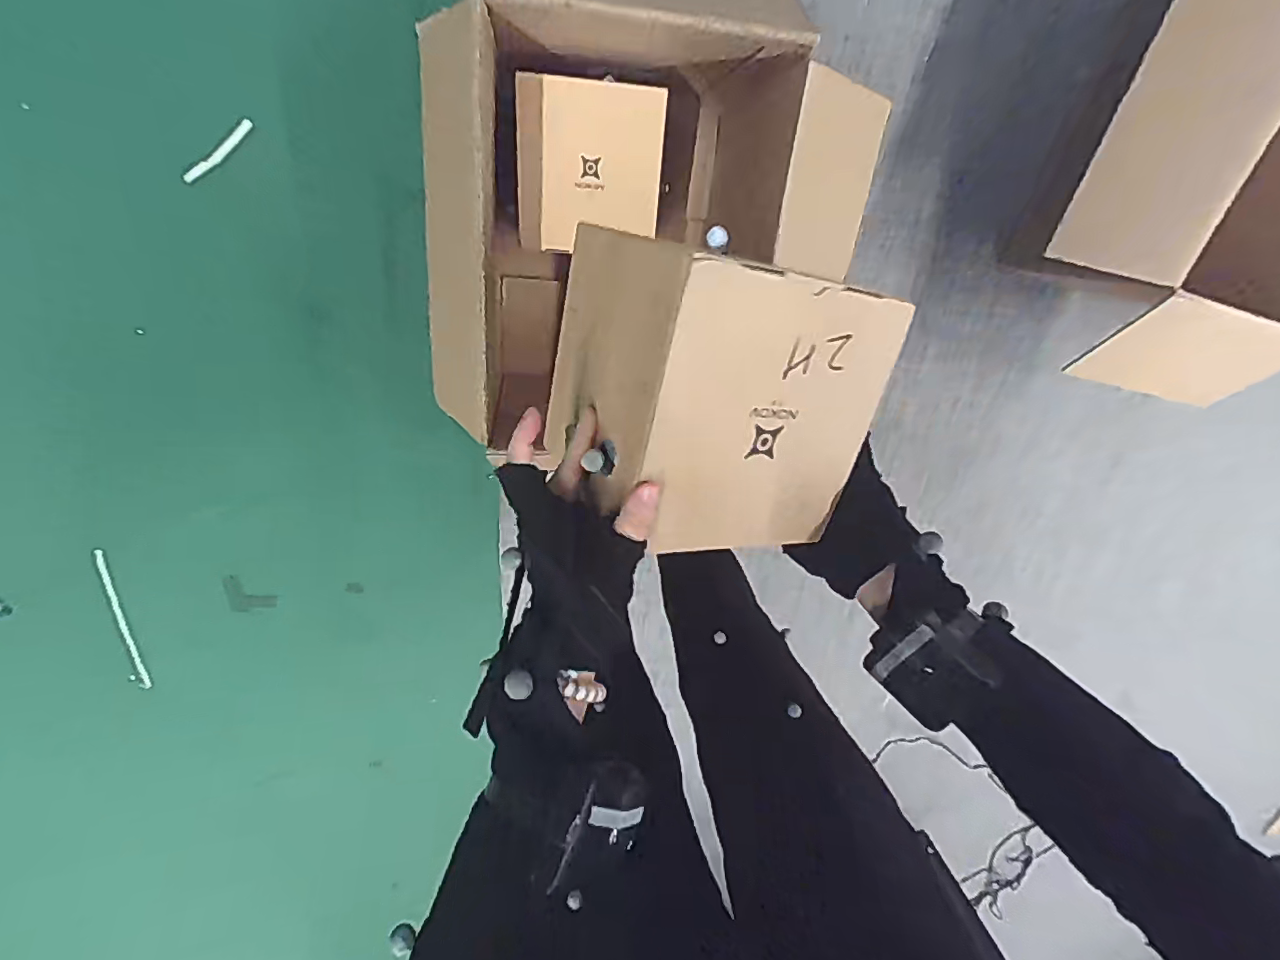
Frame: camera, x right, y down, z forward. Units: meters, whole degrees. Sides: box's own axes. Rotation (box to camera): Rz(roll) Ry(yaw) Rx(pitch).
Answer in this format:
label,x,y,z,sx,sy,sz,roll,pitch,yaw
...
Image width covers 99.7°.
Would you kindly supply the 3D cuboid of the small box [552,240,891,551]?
label,x,y,z,sx,sy,sz,roll,pitch,yaw
small box,0.039,-0.067,0.406,0.168,0.176,0.179,-1,116,-27
